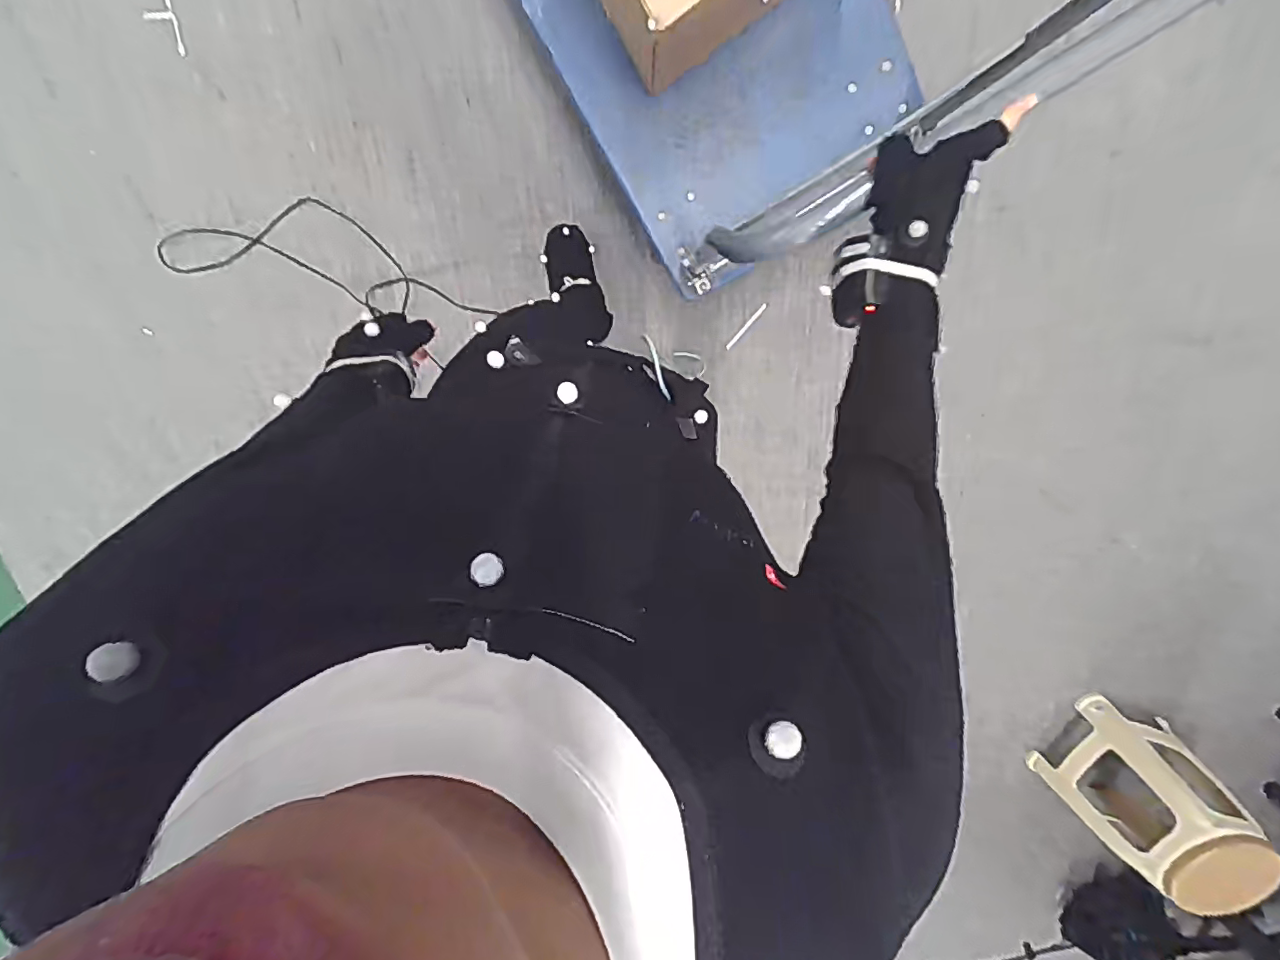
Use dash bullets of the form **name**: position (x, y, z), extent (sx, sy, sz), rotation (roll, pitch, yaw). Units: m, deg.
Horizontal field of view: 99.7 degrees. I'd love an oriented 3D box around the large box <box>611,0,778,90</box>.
- **large box**: position (0.122, -0.908, 0.817), extent (0.408, 0.320, 0.320), rotation (-32, 107, 12)
